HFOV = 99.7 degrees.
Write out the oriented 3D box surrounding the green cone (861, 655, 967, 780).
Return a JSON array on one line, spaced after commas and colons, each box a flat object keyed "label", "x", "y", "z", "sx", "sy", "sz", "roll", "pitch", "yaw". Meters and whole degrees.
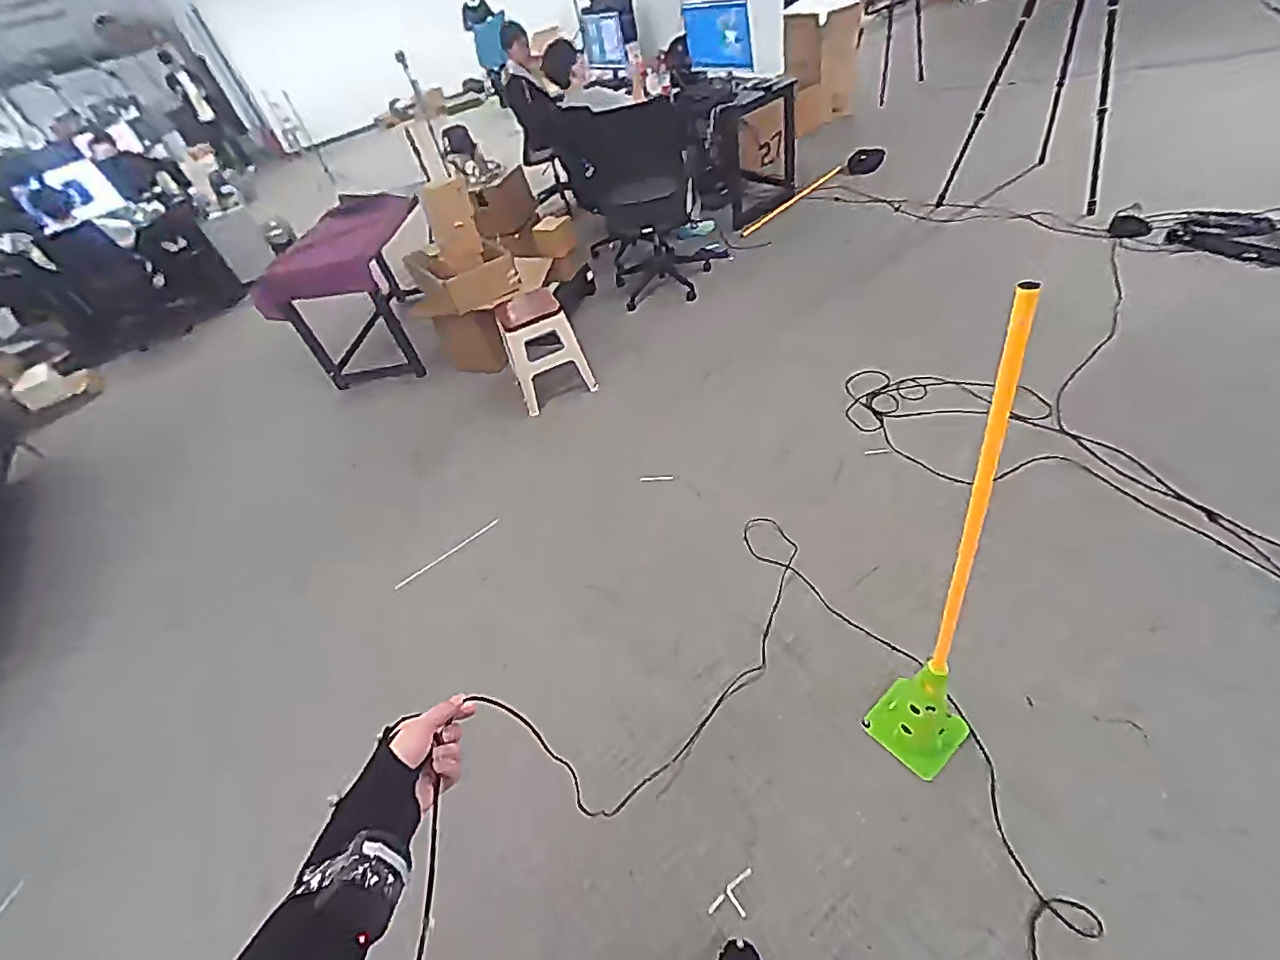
[{"label": "green cone", "x": 0.689, "y": 0.530, "z": 1.303, "sx": 0.202, "sy": 0.368, "sz": 0.200, "roll": -36, "pitch": 48, "yaw": -21}]
